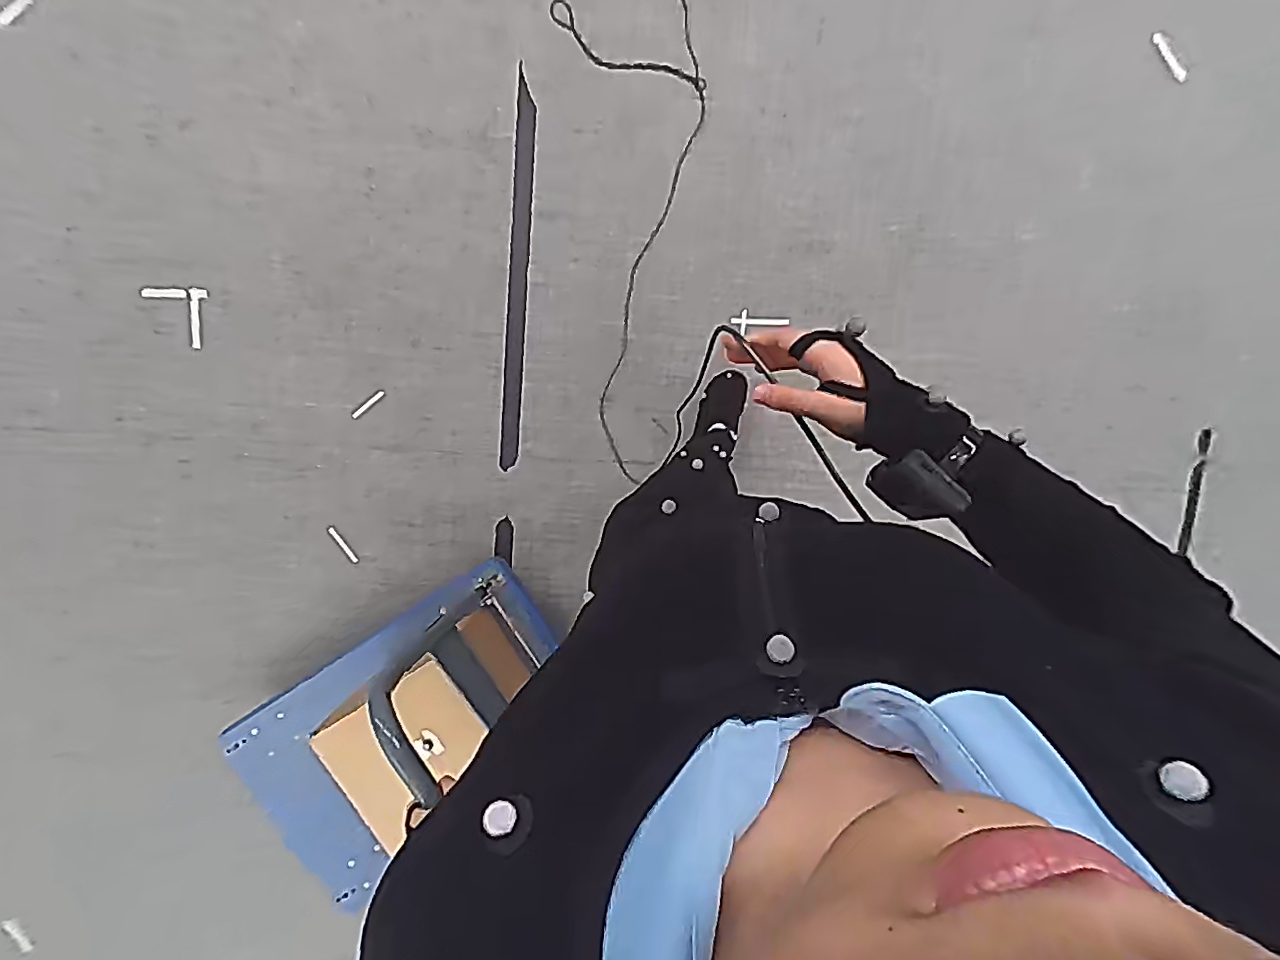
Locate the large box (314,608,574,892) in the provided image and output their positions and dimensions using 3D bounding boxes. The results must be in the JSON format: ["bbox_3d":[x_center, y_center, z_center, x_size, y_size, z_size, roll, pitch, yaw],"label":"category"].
[{"bbox_3d":[-0.399,0.567,1.204,0.320,0.320,0.408,-33,93,2],"label":"large box"}]
